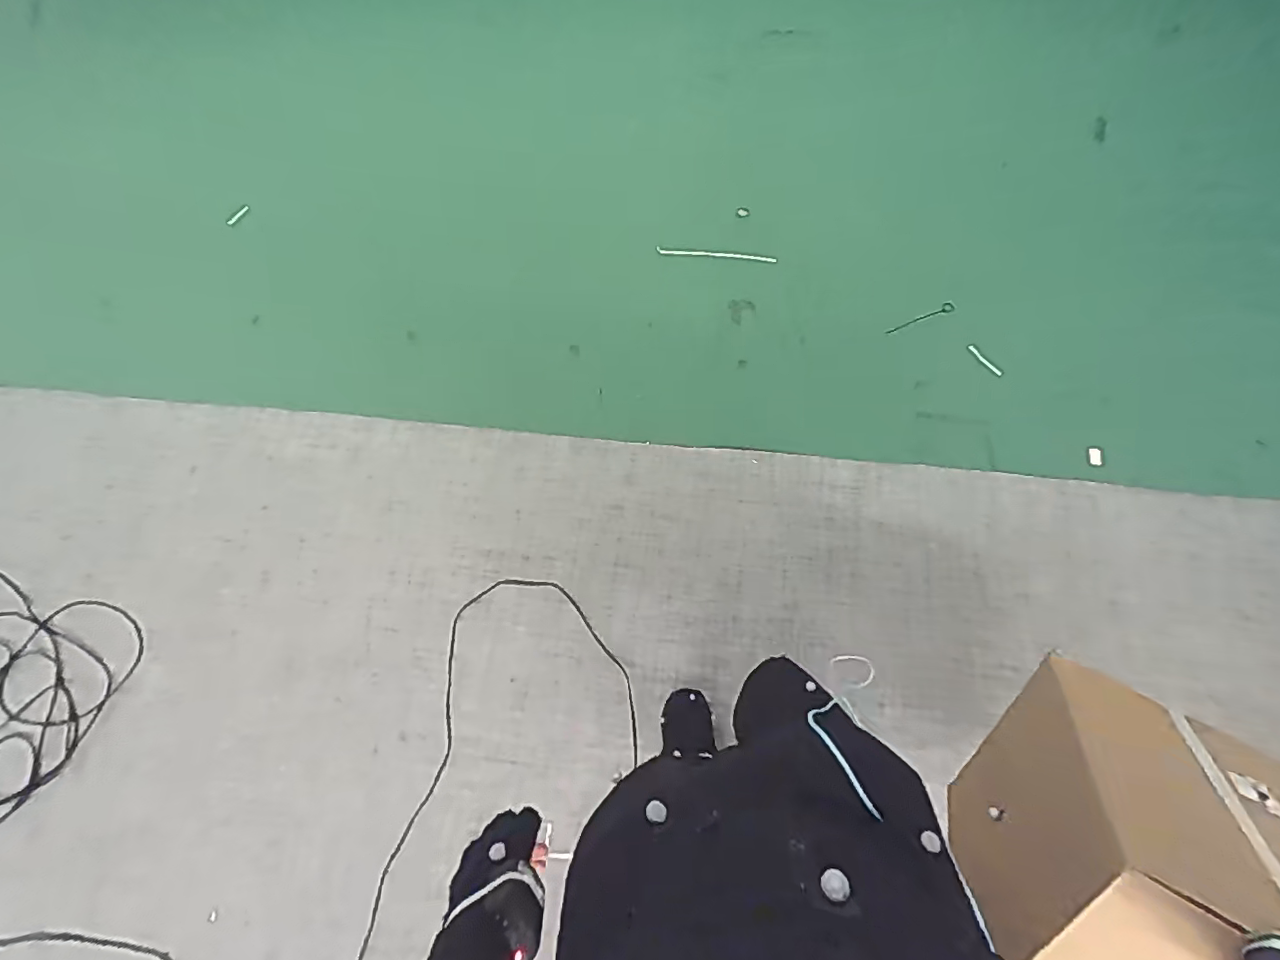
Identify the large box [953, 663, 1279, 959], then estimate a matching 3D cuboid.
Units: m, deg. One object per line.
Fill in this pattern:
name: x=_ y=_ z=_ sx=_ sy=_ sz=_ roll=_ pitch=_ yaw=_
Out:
large box: x=0.619 y=0.515 z=0.658 sx=0.320 sy=0.408 sz=0.320 roll=27 pitch=113 yaw=20
